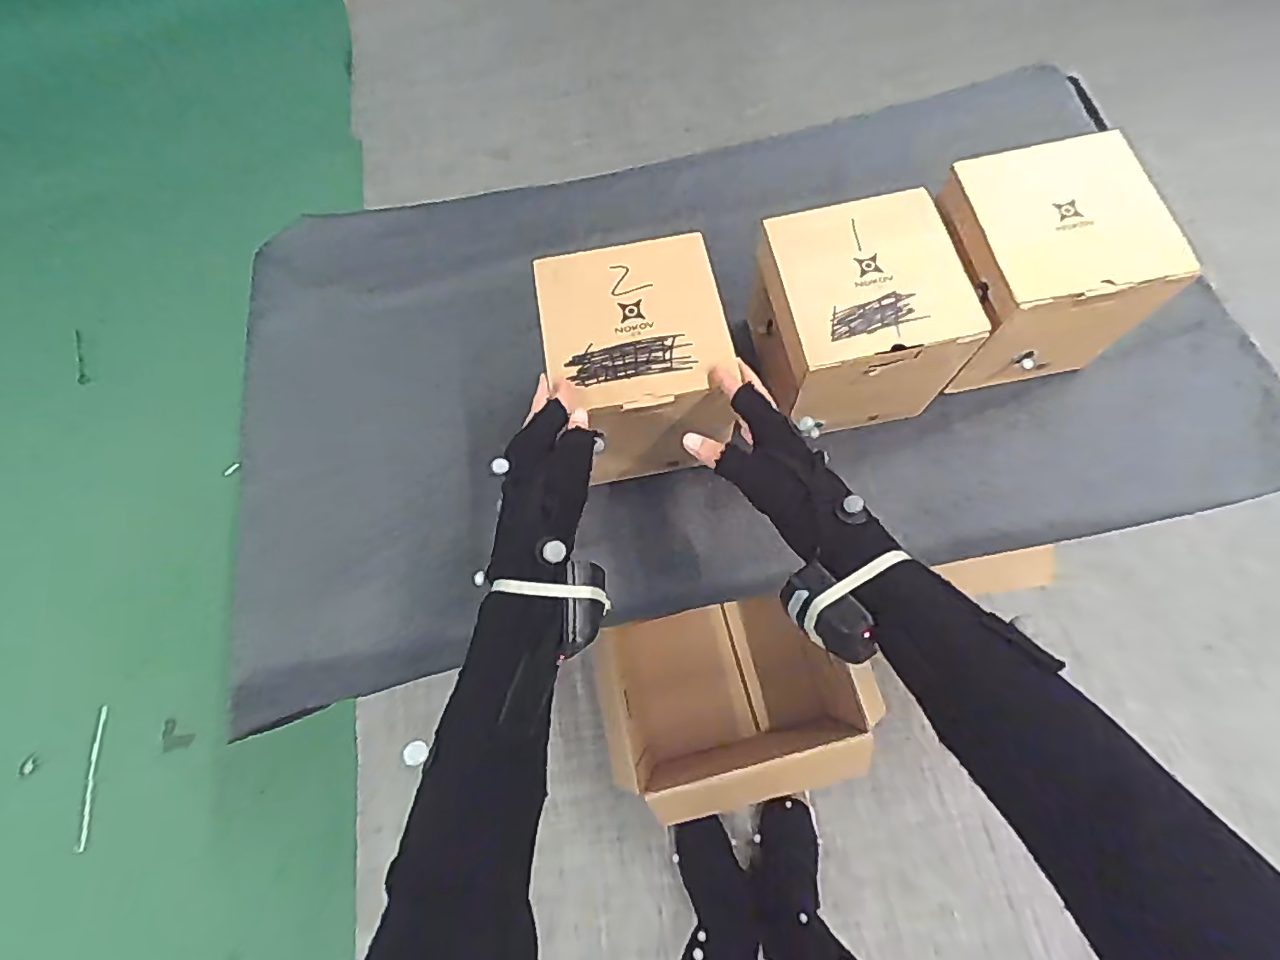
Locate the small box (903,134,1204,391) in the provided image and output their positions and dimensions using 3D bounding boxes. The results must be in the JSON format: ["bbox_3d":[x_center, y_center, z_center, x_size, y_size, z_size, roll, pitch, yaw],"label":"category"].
[{"bbox_3d":[0.412,-0.221,0.582,0.168,0.176,0.179,-11,71,2],"label":"small box"}]
